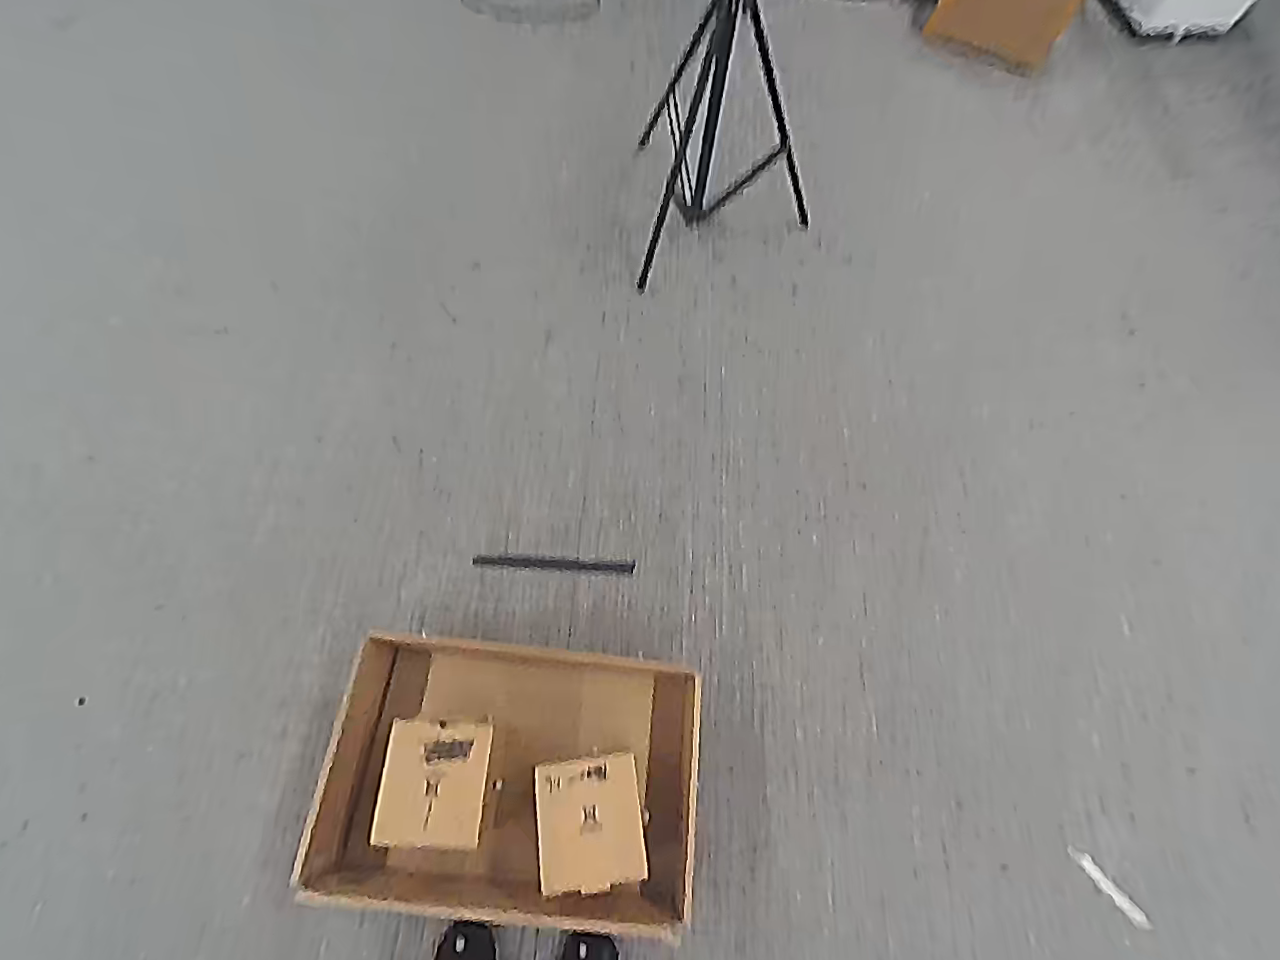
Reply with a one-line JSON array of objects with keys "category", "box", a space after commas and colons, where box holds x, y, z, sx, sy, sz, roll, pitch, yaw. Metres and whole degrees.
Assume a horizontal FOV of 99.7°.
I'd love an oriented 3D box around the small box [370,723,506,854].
[{"category": "small box", "box": [-0.332, 0.519, 0.930, 0.168, 0.176, 0.179, 4, 66, -3]}]
